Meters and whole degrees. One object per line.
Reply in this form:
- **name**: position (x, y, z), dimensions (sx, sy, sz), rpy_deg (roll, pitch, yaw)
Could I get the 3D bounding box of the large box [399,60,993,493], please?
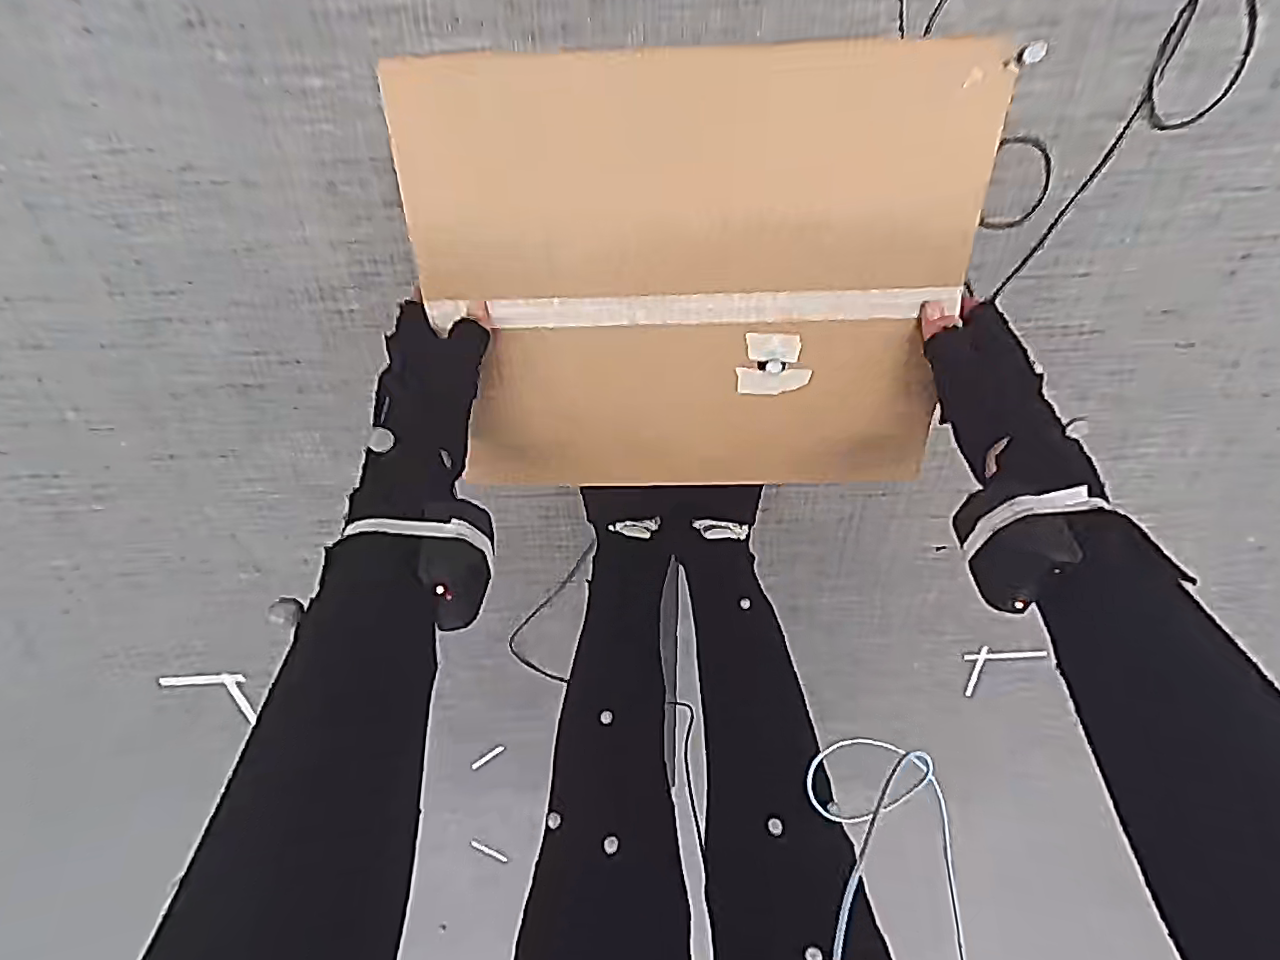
- **large box**: position (0.041, -0.199, 0.558), dimensions (0.408, 0.320, 0.320), rpy_deg (-1, 119, 2)
